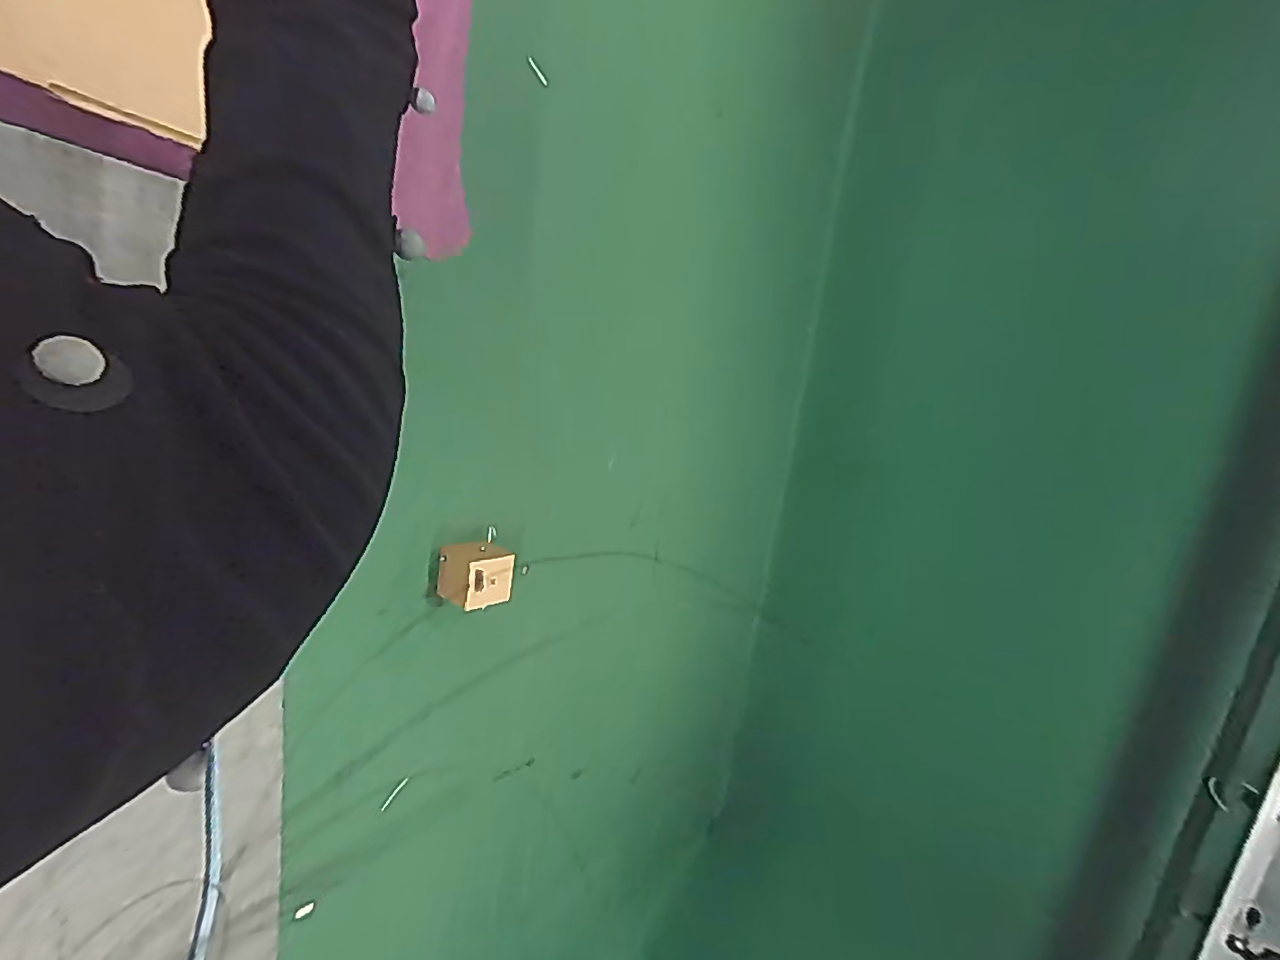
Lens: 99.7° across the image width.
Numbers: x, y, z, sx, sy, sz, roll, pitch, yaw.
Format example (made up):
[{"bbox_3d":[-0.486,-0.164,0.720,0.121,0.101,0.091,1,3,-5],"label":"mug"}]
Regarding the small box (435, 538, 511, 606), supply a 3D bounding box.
[{"bbox_3d":[-0.560,0.300,1.807,0.179,0.176,0.168,-3,106,-53],"label":"small box"}]
